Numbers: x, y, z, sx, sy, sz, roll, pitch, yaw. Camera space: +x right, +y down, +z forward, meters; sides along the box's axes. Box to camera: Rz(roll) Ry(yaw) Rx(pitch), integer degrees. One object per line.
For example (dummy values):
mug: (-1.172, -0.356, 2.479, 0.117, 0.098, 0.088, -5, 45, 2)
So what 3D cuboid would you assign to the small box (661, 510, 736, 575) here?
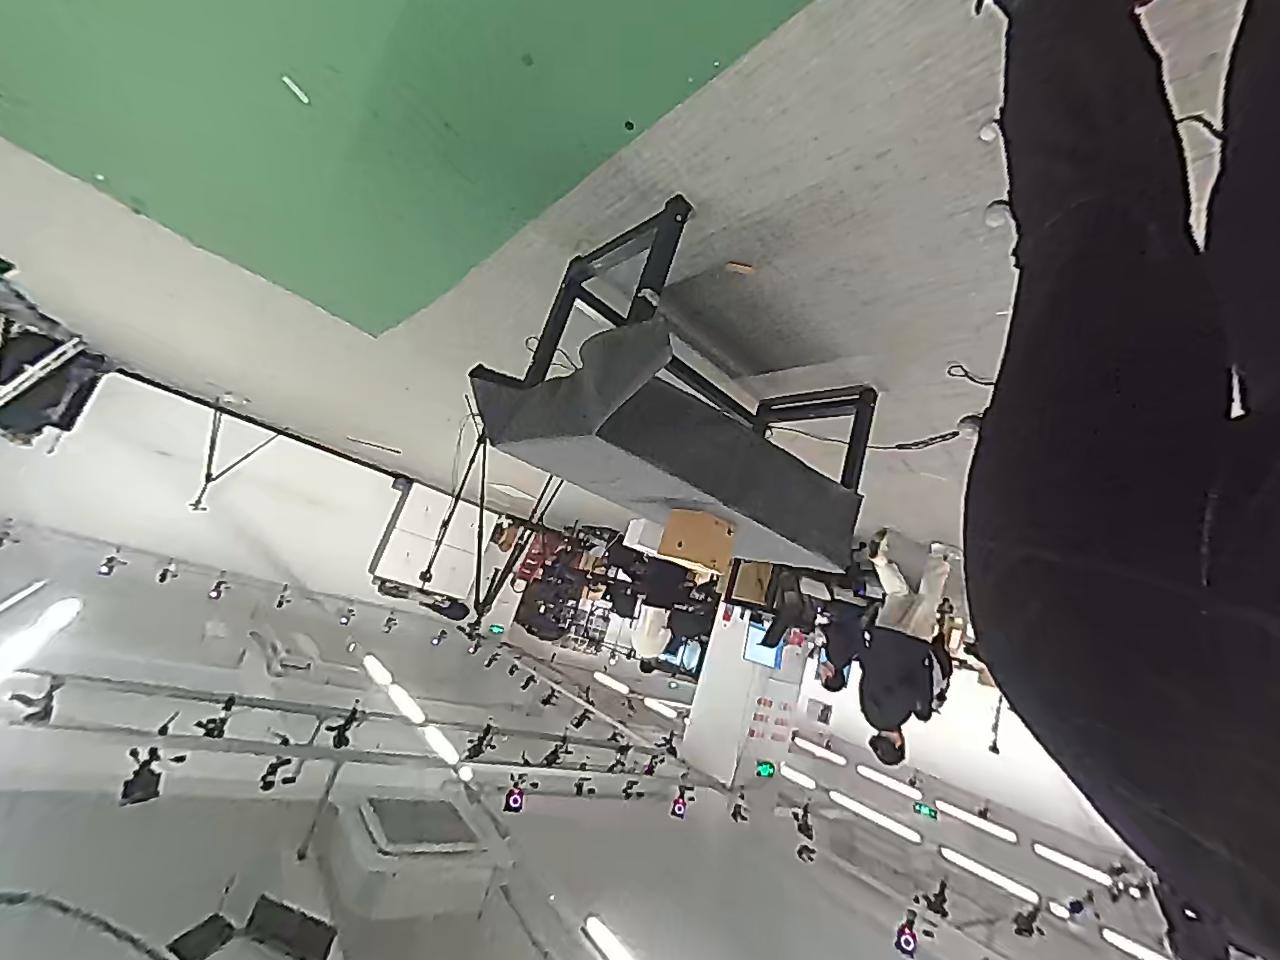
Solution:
small box: (0.204, 0.205, 1.809, 0.168, 0.176, 0.179, 28, 164, -35)
